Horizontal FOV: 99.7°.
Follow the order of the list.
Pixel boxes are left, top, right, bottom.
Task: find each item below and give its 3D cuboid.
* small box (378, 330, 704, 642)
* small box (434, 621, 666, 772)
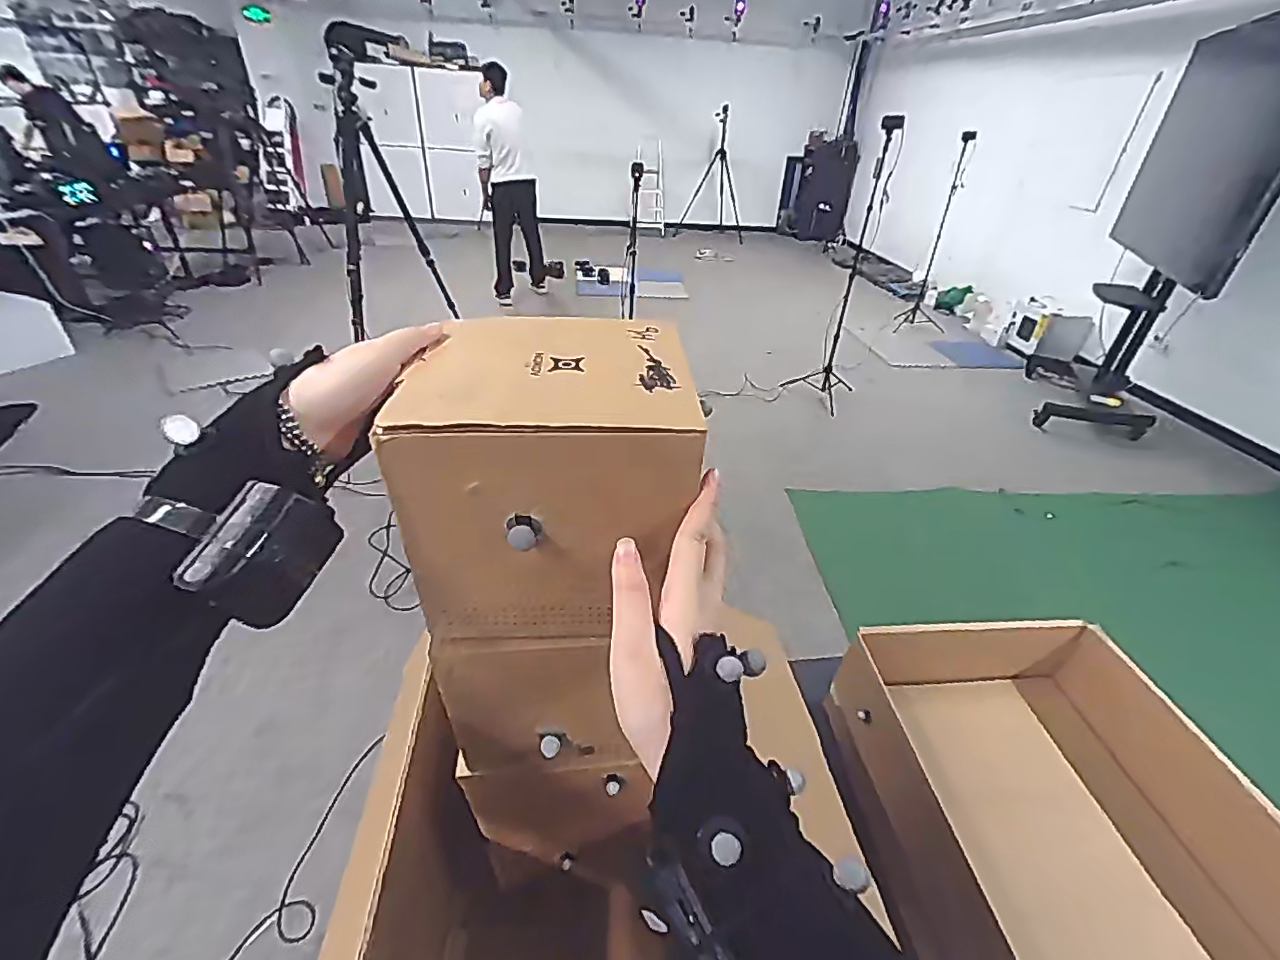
[{"bbox_3d":[-0.056,0.002,0.394,0.179,0.176,0.168,-1,37,-4],"label":"small box"},{"bbox_3d":[-0.071,0.135,0.492,0.168,0.176,0.179,-2,38,-5],"label":"small box"}]
